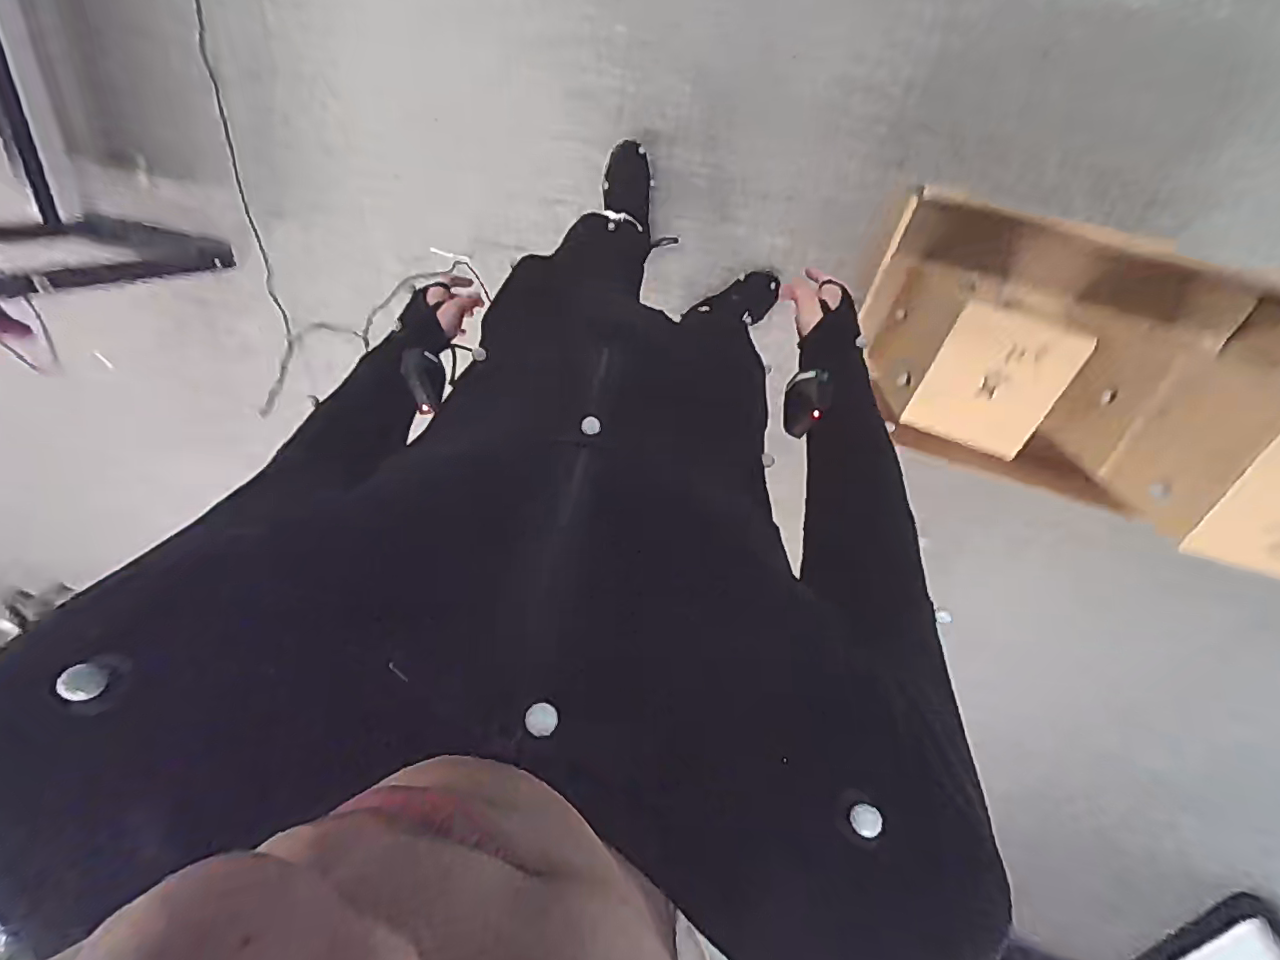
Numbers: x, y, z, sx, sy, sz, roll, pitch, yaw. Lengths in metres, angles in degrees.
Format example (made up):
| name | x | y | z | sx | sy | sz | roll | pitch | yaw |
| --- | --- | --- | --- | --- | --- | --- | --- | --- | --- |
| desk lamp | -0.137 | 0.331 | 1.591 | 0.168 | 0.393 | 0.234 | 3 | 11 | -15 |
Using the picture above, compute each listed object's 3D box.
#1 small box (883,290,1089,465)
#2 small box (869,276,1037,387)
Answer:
| name | x | y | z | sx | sy | sz | roll | pitch | yaw |
| --- | --- | --- | --- | --- | --- | --- | --- | --- | --- |
| small box | 0.475 | -0.155 | 0.783 | 0.168 | 0.176 | 0.179 | 20 | 120 | 1 |
| small box | 0.514 | -0.233 | 0.924 | 0.168 | 0.176 | 0.179 | 20 | 120 | 2 |
